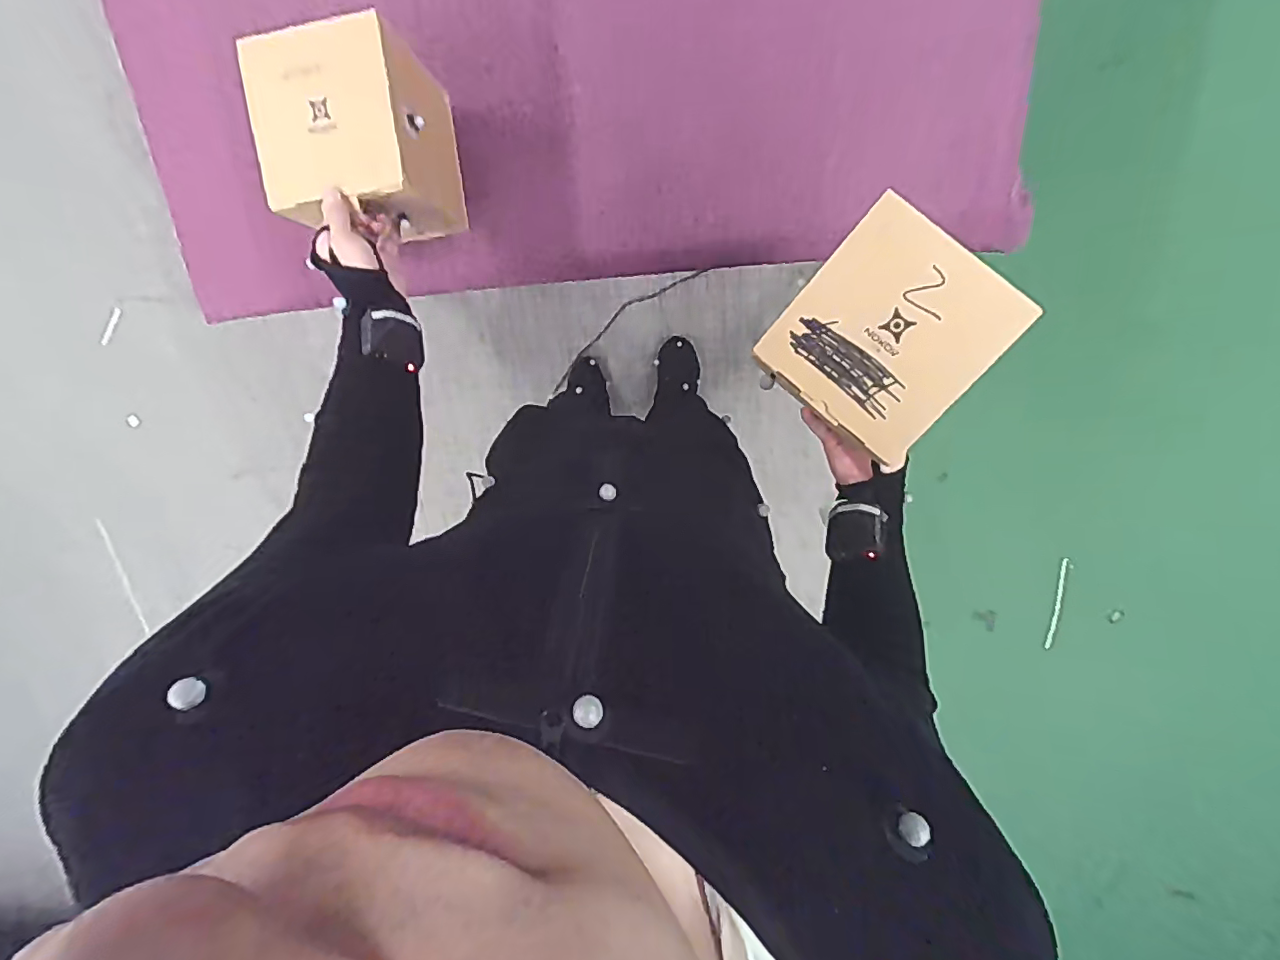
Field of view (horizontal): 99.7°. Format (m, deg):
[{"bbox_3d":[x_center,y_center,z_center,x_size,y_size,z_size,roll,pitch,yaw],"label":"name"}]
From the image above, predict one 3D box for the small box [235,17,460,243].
[{"bbox_3d":[-0.338,-0.404,0.662,0.168,0.176,0.179,-5,98,6],"label":"small box"}]
